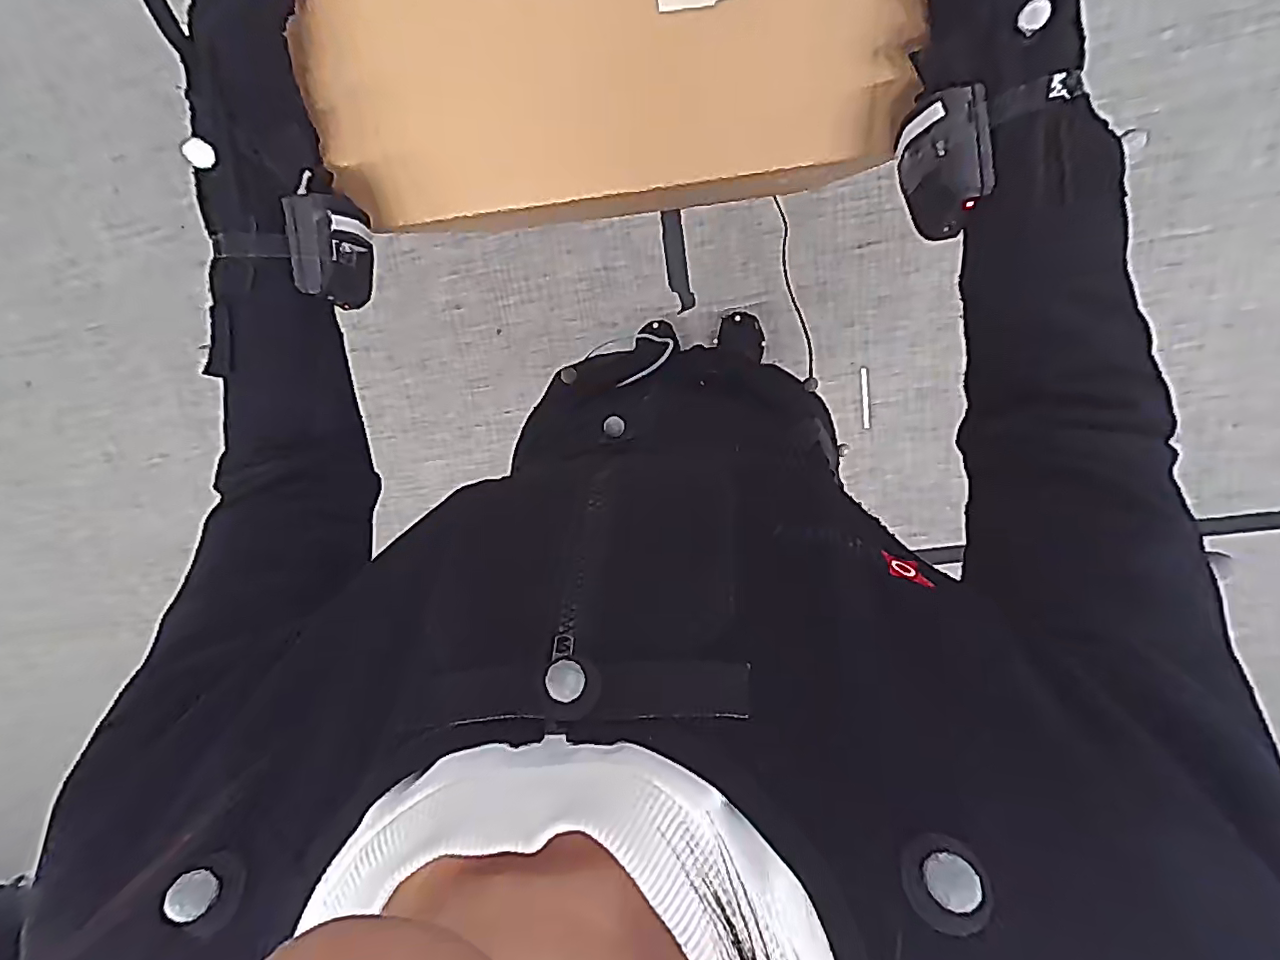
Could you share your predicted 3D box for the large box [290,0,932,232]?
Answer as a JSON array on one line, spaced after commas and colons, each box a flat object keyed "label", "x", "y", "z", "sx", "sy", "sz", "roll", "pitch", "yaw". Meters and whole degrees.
[{"label": "large box", "x": -0.021, "y": -0.406, "z": 0.451, "sx": 0.408, "sy": 0.320, "sz": 0.320, "roll": -5, "pitch": 114, "yaw": 7}]
